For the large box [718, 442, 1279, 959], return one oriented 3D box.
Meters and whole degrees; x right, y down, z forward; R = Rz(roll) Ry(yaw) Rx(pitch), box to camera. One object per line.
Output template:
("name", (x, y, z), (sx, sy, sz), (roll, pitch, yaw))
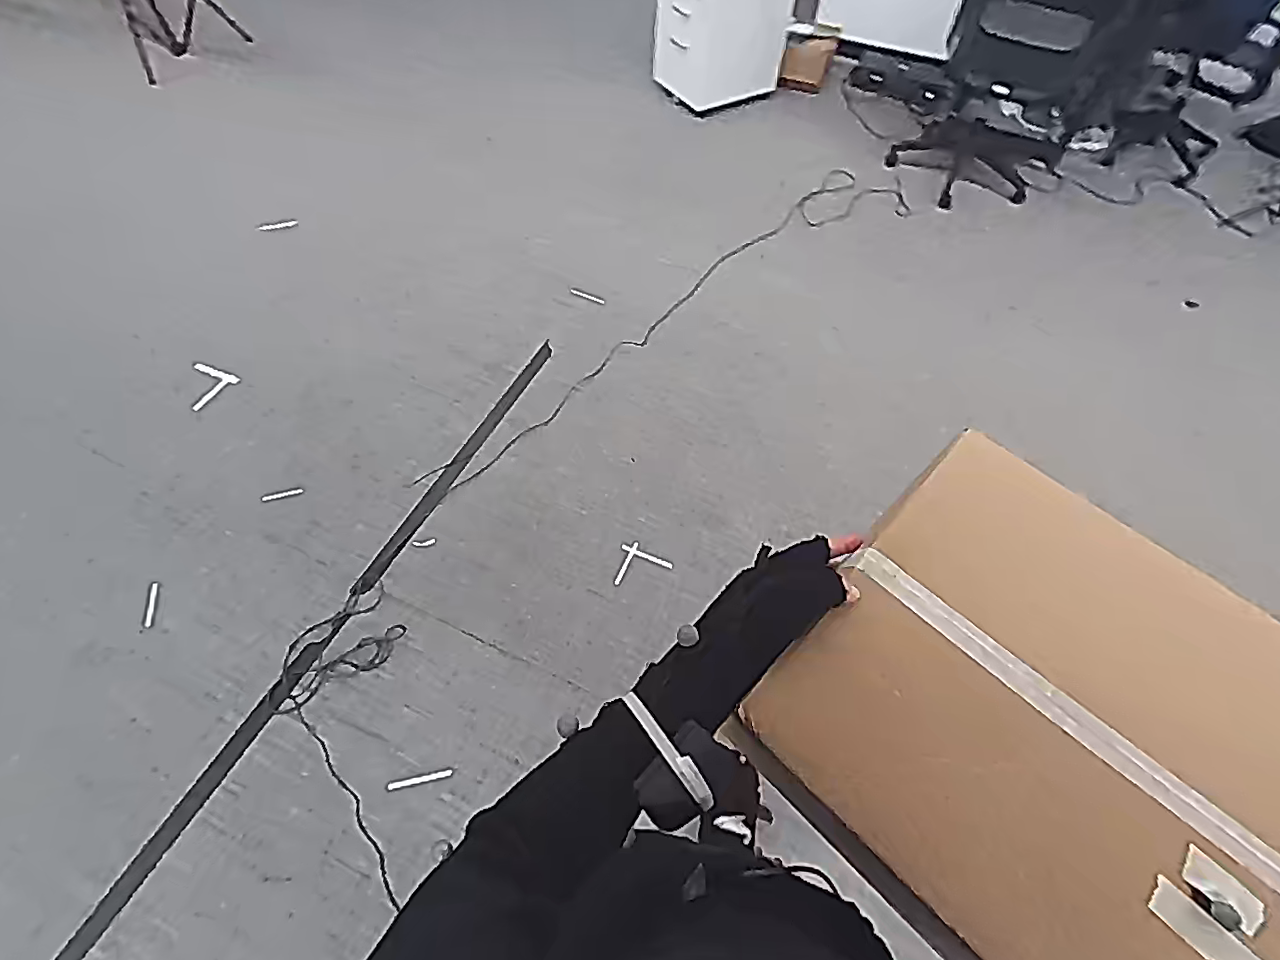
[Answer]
("large box", (0.329, 0.245, 0.503), (0.408, 0.320, 0.320), (40, 75, 19))
